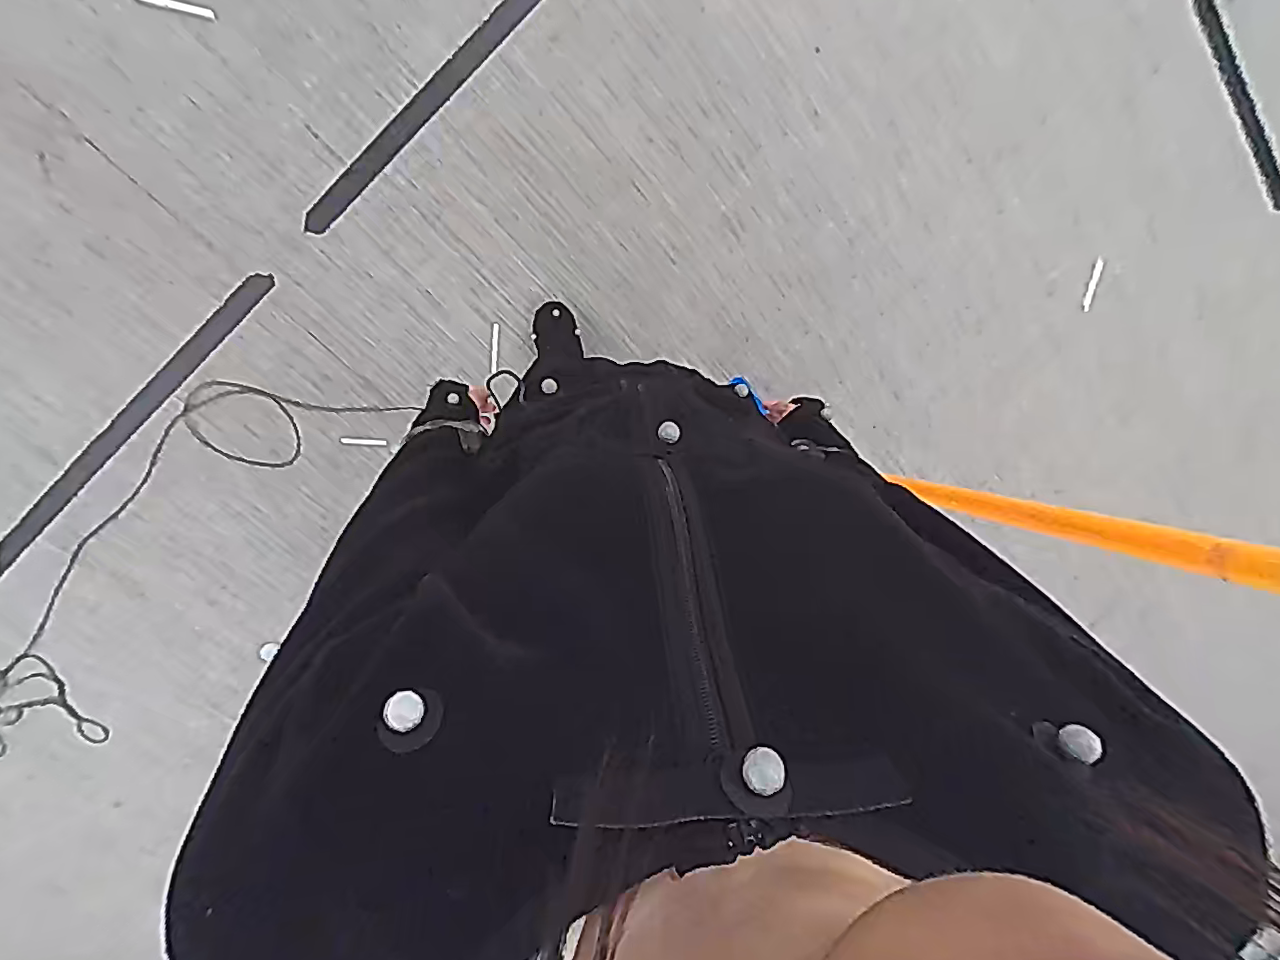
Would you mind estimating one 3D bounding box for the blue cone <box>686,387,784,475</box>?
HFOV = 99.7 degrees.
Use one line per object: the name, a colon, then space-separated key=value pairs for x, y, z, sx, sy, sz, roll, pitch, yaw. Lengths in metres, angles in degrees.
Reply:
blue cone: x=0.262 y=-0.085 z=1.276 sx=0.192 sy=0.380 sz=0.193 roll=-39 pitch=107 yaw=6
